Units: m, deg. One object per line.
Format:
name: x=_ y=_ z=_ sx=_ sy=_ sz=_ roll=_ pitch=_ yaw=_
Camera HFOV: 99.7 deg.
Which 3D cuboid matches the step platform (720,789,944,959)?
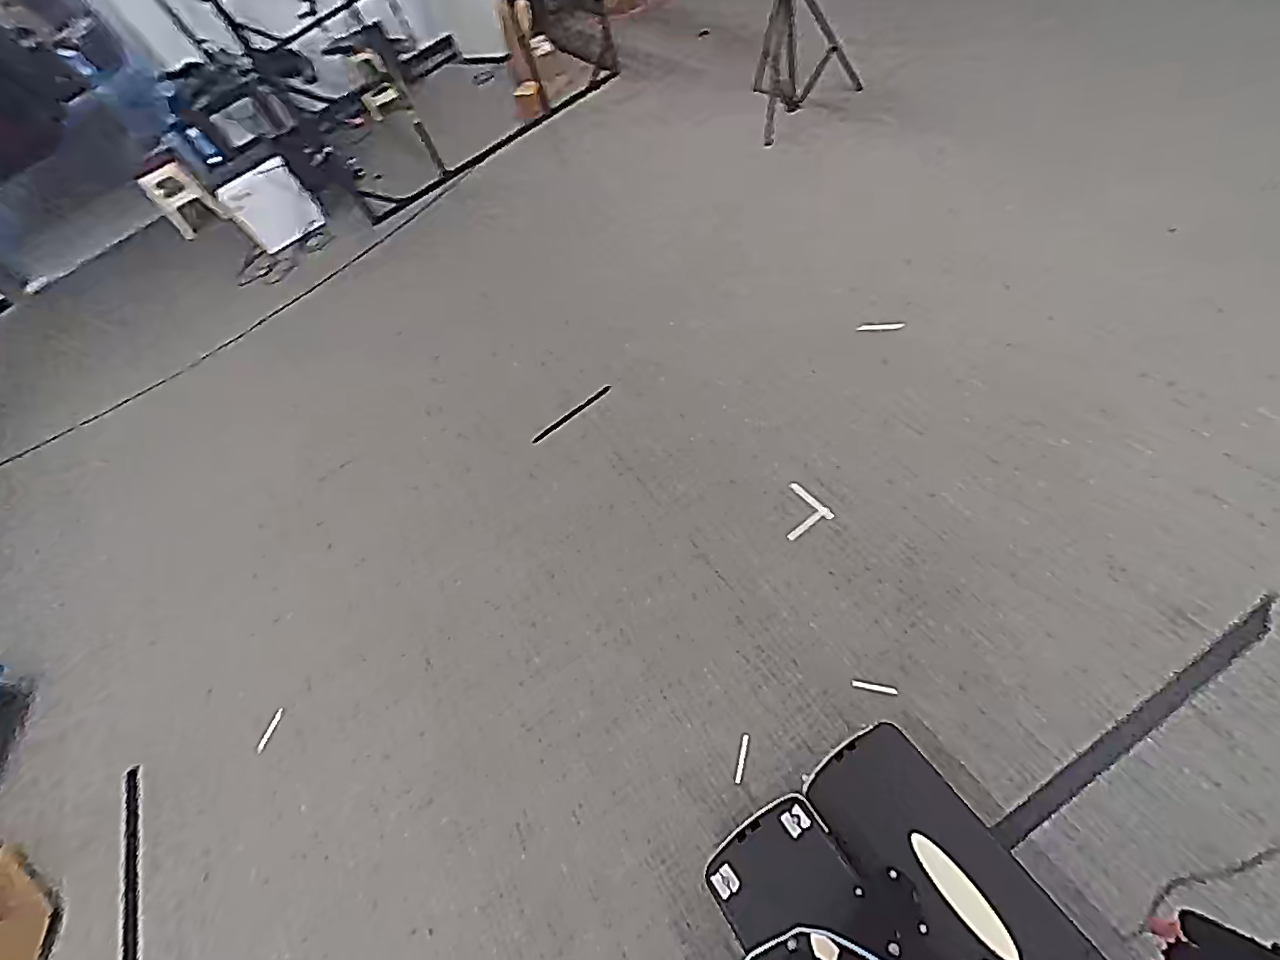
step platform: x=0.464 y=1.006 z=1.078 sx=0.286 sy=0.204 sz=0.684 roll=-37 pitch=54 yaw=-7
